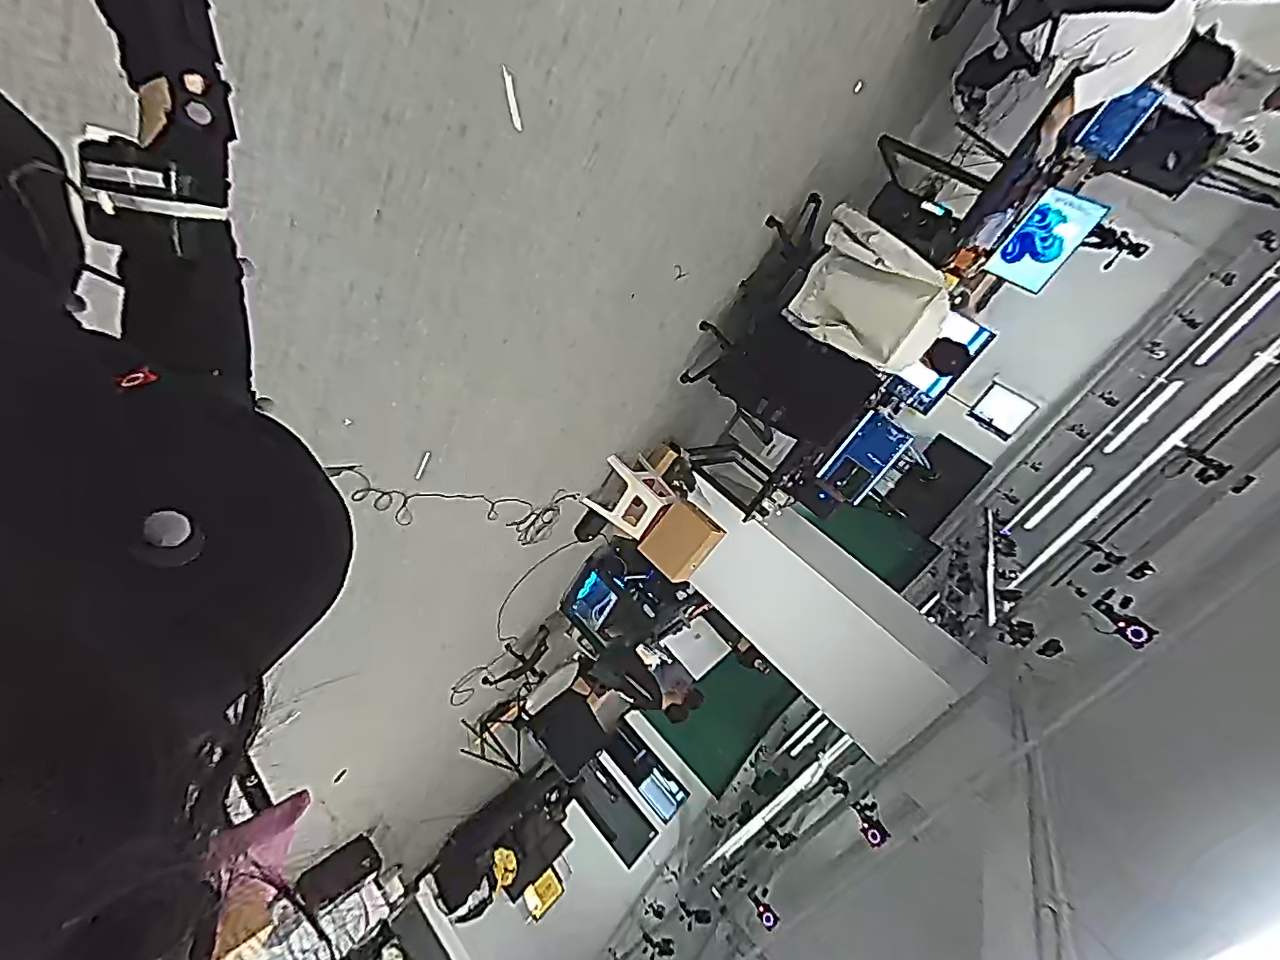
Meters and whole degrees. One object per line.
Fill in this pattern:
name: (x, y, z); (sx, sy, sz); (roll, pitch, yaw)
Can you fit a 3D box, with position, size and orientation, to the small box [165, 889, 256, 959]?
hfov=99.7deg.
small box: (-1.355, 1.446, 1.700); (0.168, 0.176, 0.179); (-9, 135, -60)
